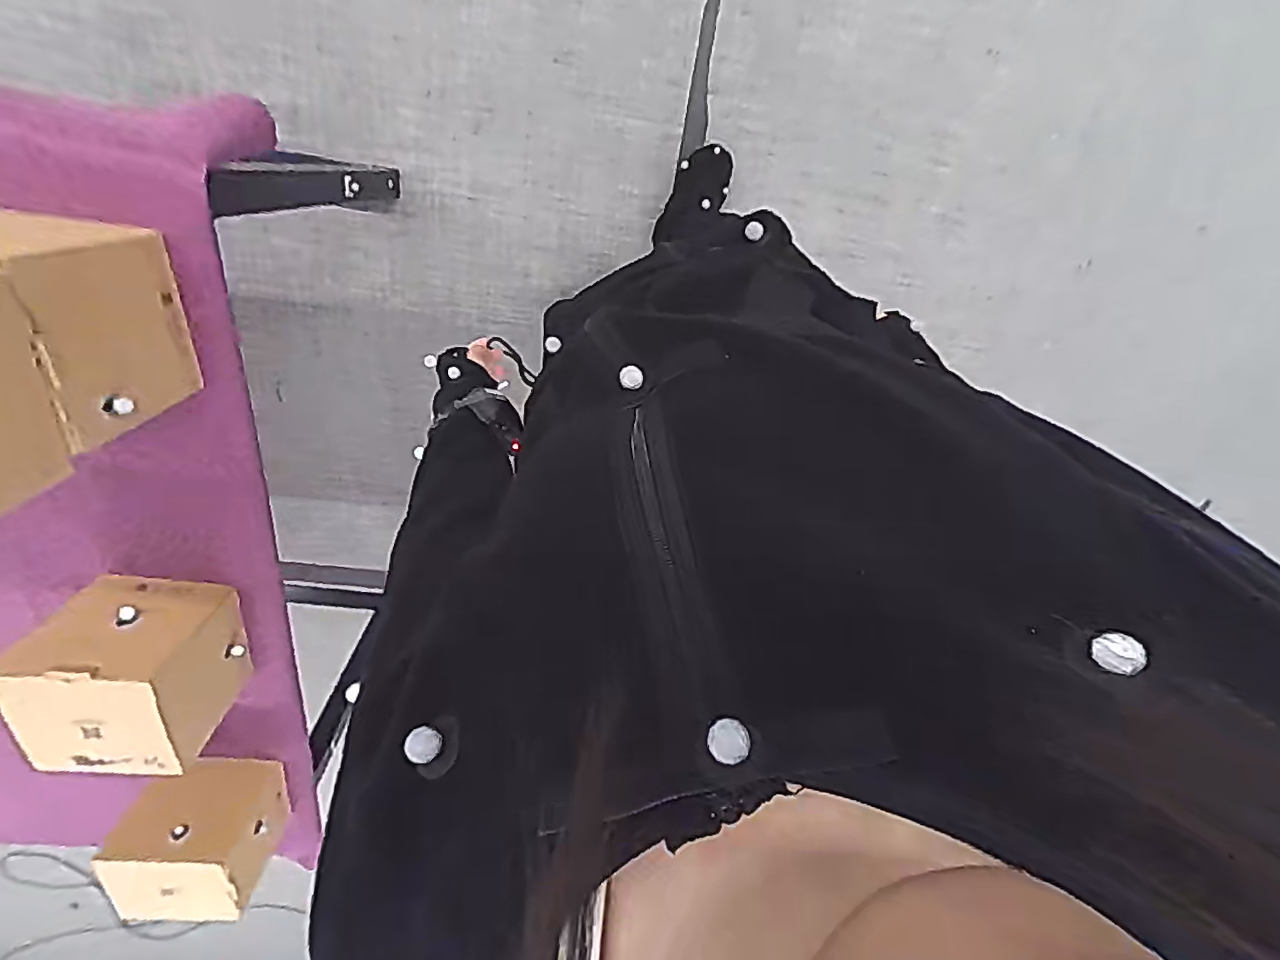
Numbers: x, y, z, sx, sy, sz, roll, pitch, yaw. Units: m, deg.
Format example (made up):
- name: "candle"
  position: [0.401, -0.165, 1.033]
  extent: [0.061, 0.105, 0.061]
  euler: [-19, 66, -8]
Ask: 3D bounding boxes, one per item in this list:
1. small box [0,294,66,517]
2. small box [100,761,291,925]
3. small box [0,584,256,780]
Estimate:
- name: "small box"
  position: [-0.547, -0.044, 0.350]
  extent: [0.168, 0.176, 0.179]
  euler: [9, 119, -9]
- name: "small box"
  position: [-0.700, 0.586, 0.883]
  extent: [0.179, 0.176, 0.168]
  euler: [8, 117, -7]
- name: "small box"
  position: [-0.638, 0.256, 0.702]
  extent: [0.168, 0.176, 0.179]
  euler: [7, 118, -9]
